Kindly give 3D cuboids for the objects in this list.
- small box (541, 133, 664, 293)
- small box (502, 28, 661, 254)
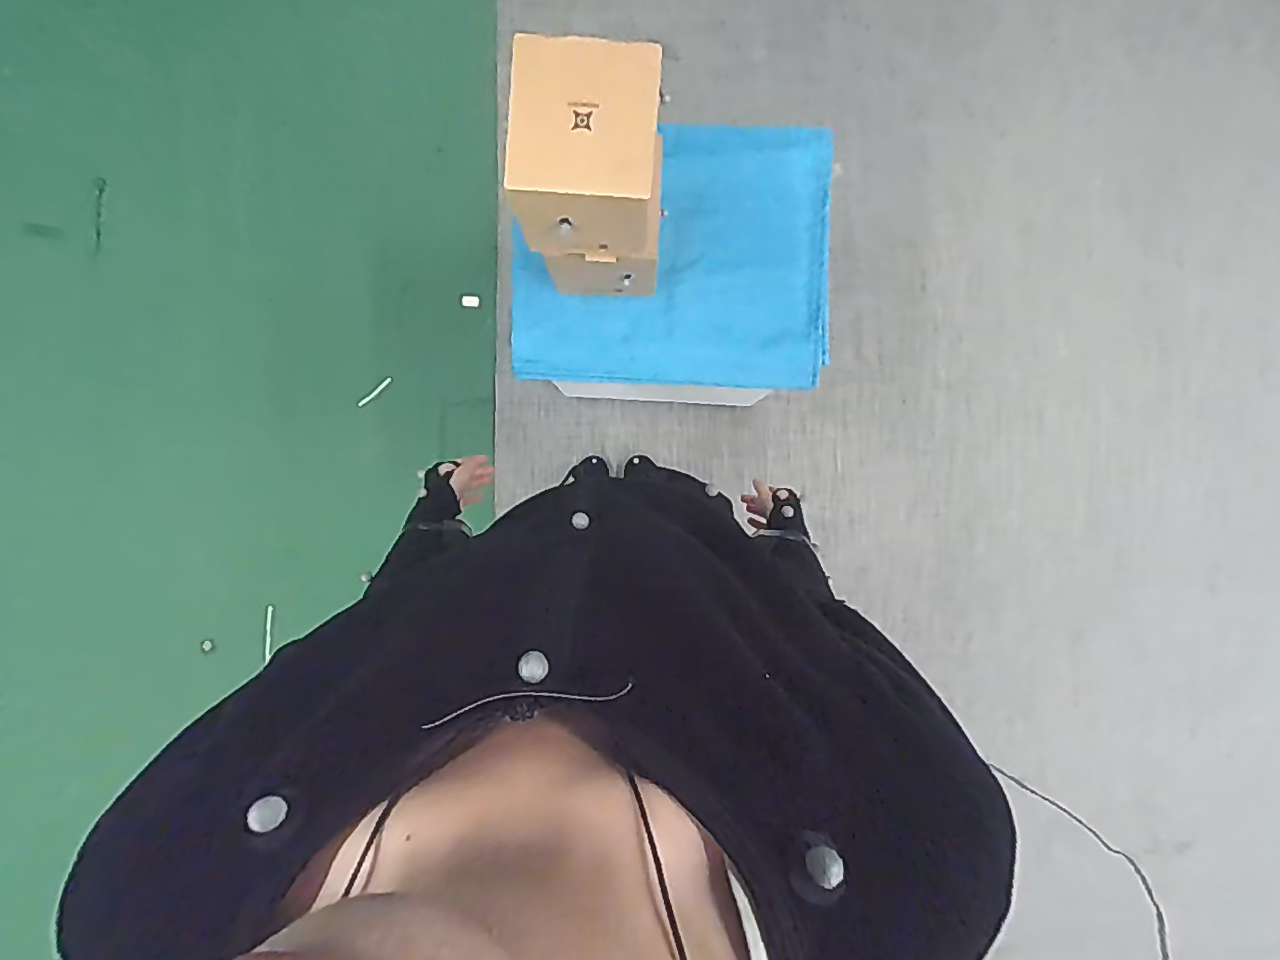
[{"bbox_3d":[-0.052,-0.400,0.830,0.168,0.176,0.179,3,90,-1],"label":"small box"},{"bbox_3d":[-0.064,-0.399,0.668,0.168,0.176,0.179,4,89,-1],"label":"small box"}]
